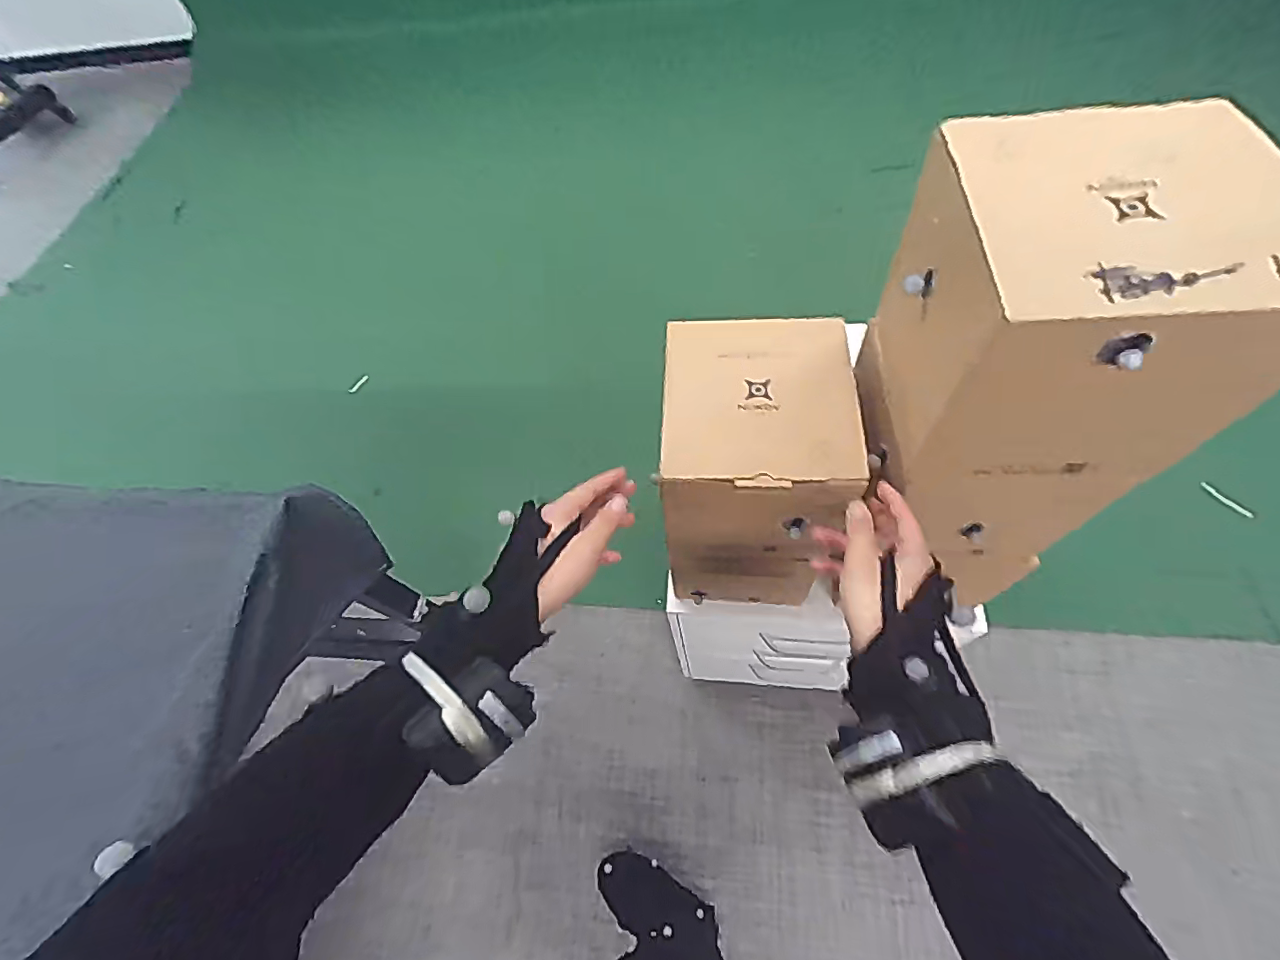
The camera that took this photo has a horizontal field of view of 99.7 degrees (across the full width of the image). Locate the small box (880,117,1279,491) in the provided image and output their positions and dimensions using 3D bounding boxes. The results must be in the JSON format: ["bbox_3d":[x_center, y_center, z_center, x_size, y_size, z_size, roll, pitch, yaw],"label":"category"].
[{"bbox_3d":[0.279,-0.110,0.369,0.168,0.176,0.179,1,60,8],"label":"small box"}]

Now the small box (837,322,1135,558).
[{"bbox_3d":[0.295,-0.031,0.512,0.168,0.176,0.179,-1,61,6],"label":"small box"}]
